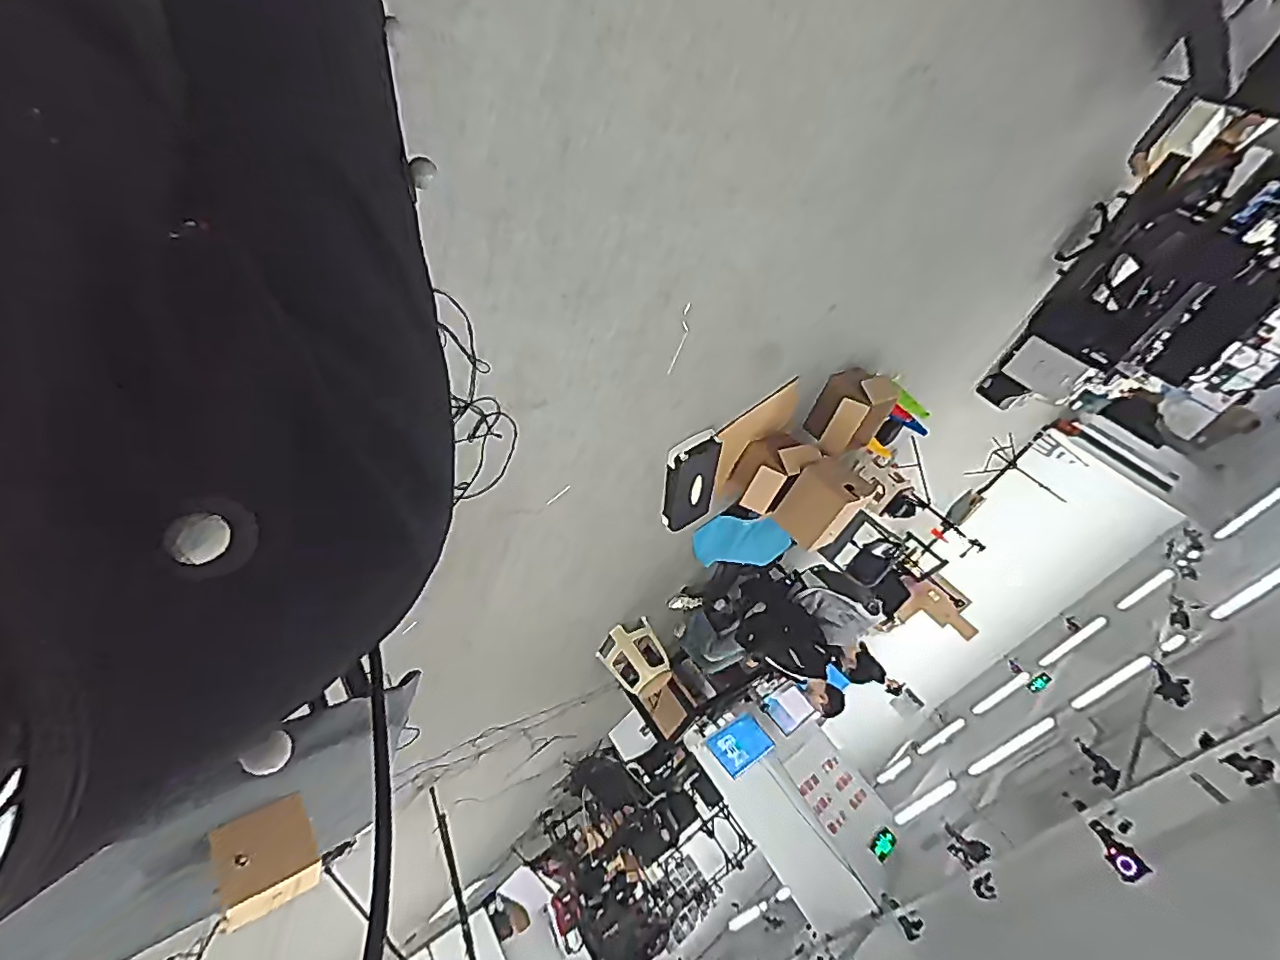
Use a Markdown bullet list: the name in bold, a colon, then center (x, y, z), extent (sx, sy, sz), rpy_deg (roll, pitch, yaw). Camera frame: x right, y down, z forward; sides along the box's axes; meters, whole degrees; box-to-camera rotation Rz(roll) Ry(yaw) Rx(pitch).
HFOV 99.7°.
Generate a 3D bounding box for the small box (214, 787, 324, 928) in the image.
- **small box**: center (-0.832, 0.836, 1.209), extent (0.179, 0.176, 0.168), rpy_deg (-12, 141, -43)
